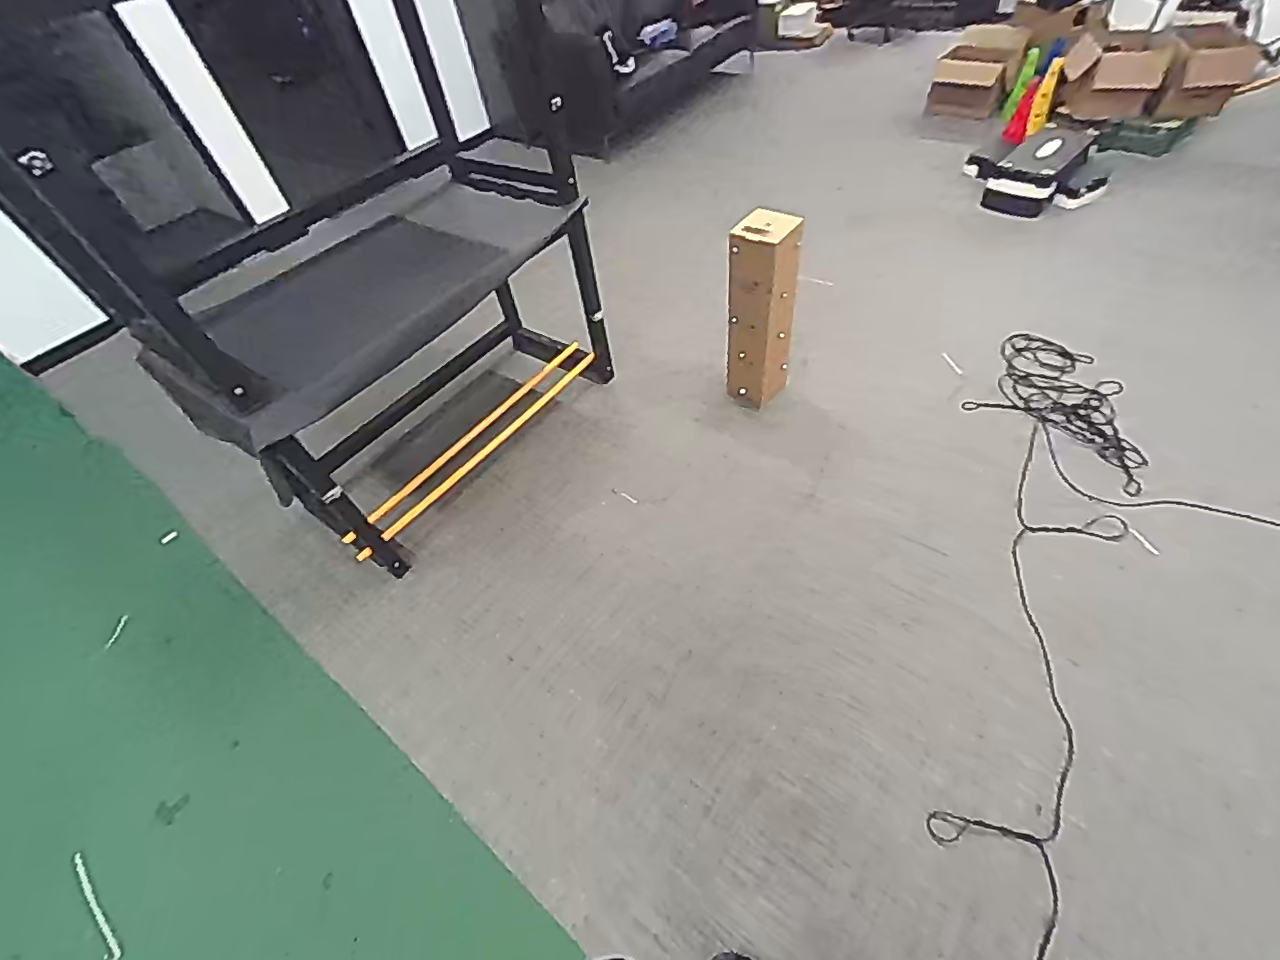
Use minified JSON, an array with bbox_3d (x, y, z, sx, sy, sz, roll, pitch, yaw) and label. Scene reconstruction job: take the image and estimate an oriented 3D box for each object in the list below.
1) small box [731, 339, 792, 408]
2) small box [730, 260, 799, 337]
[{"bbox_3d":[0.466,-0.413,2.105,0.168,0.176,0.179,32,62,30],"label":"small box"},{"bbox_3d":[0.426,-0.621,1.857,0.168,0.176,0.179,30,60,28],"label":"small box"}]
